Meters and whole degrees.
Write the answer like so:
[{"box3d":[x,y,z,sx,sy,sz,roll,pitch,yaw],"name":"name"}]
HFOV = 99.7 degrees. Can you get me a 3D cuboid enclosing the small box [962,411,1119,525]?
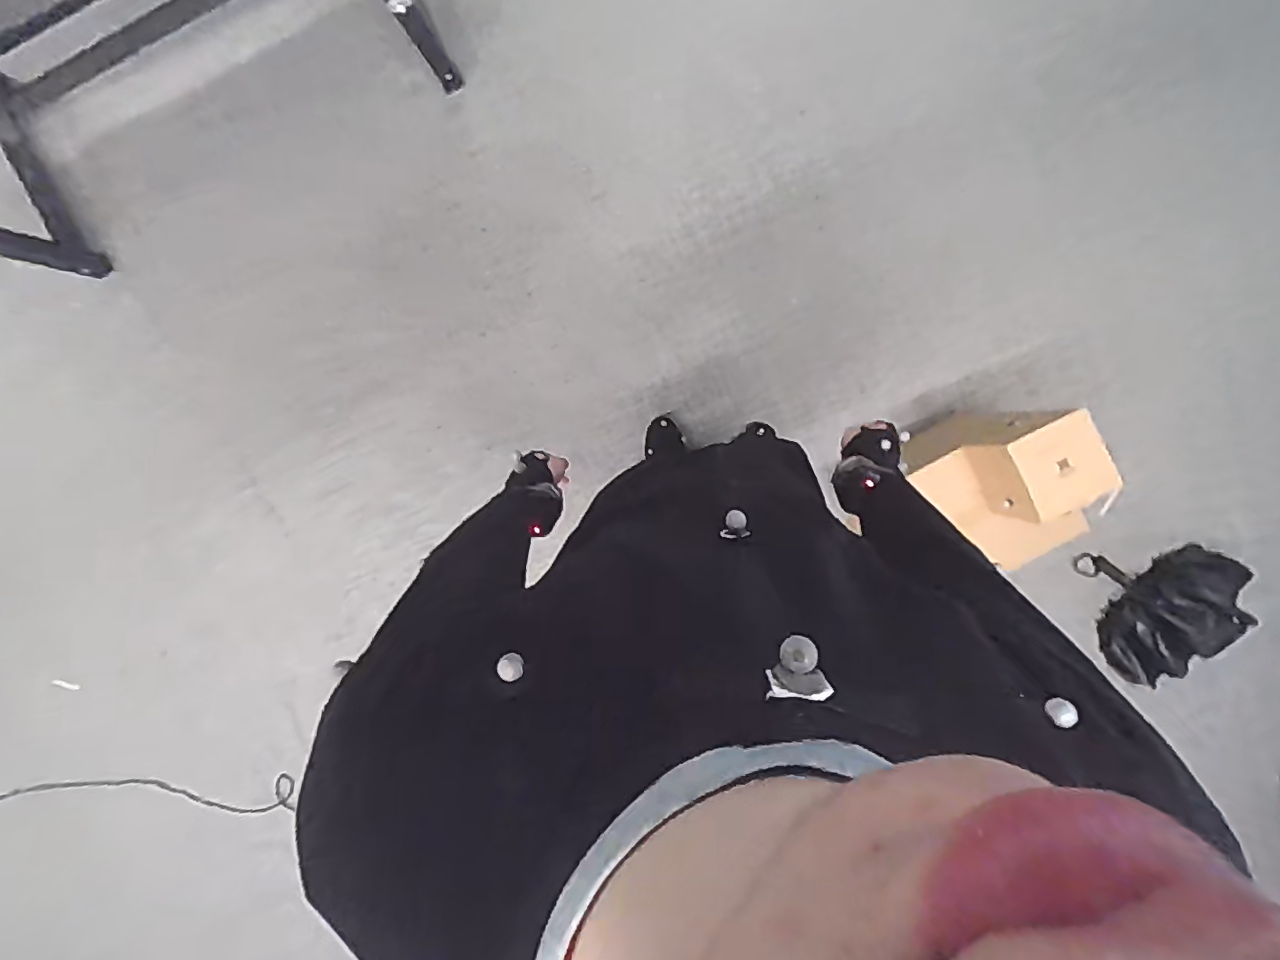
[{"box3d":[0.817,-0.028,1.123,0.168,0.176,0.179,-27,91,5],"name":"small box"}]
